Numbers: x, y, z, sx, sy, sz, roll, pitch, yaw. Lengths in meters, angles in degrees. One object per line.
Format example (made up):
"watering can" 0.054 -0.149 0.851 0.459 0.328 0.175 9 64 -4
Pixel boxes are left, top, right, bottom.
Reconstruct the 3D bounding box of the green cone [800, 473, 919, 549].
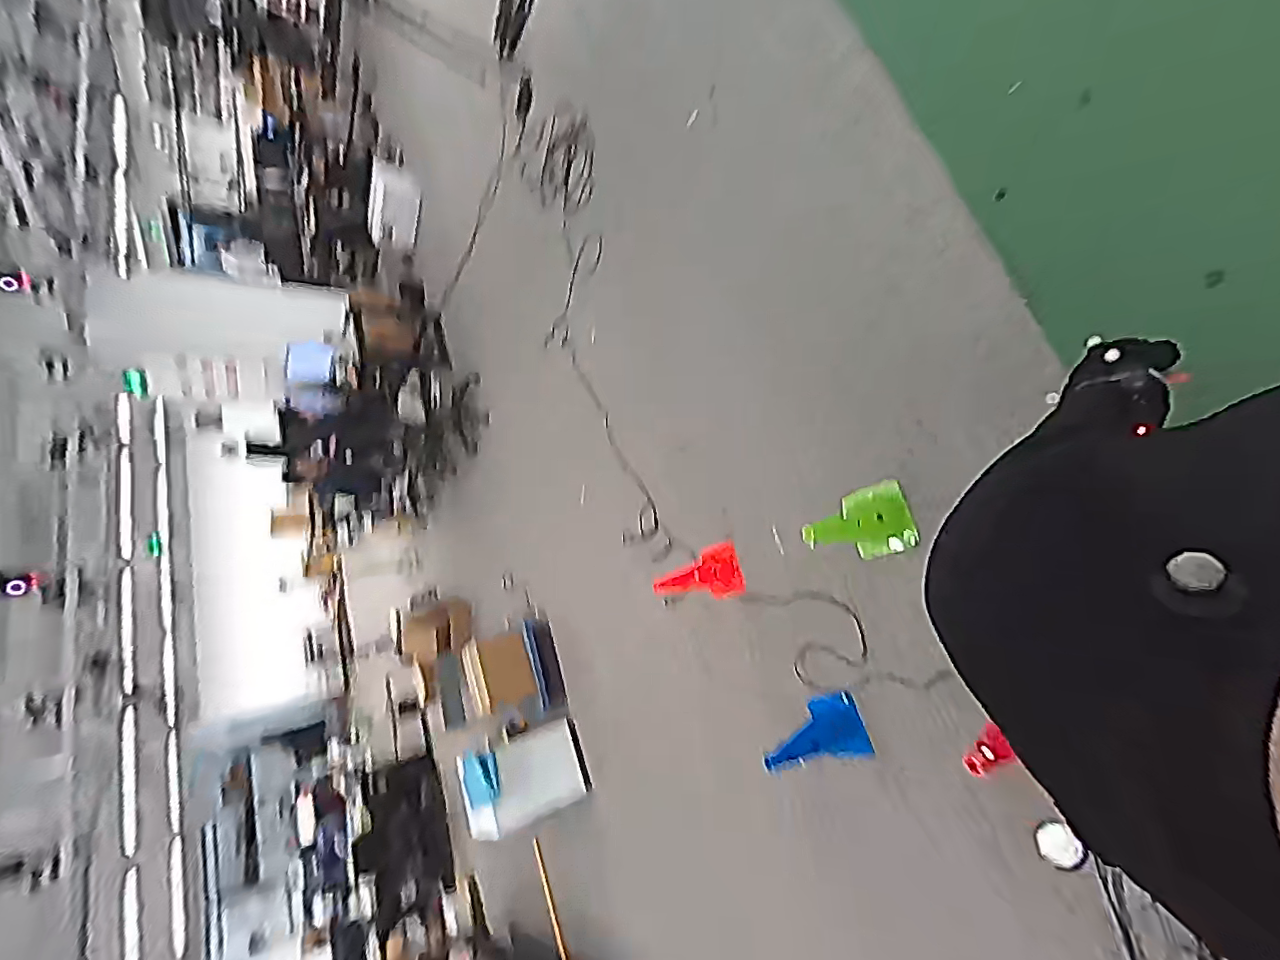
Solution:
"green cone" 0.594 0.109 1.553 0.202 0.368 0.200 -35 66 51

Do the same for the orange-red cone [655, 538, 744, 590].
"orange-red cone" 0.205 0.361 2.119 0.199 0.360 0.198 -30 71 50
